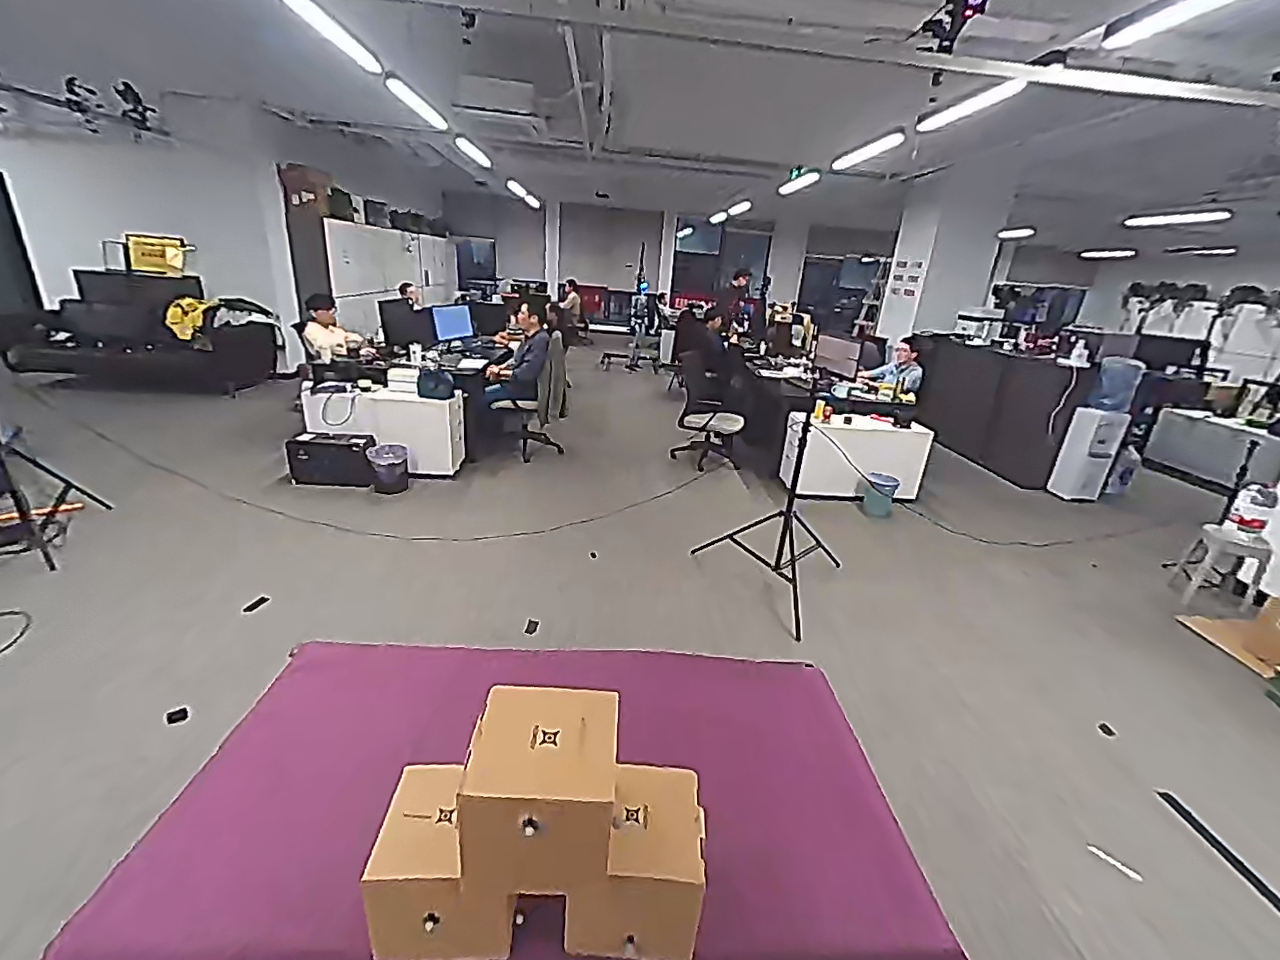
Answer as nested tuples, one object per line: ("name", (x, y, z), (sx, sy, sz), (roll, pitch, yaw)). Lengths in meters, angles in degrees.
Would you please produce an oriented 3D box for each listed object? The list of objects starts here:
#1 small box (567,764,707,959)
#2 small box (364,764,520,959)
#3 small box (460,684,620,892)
("small box", (-0.006, 0.543, 0.777), (0.179, 0.176, 0.168), (4, 20, 0))
("small box", (-0.255, 0.529, 0.757), (0.179, 0.176, 0.168), (2, 20, -5))
("small box", (-0.118, 0.389, 0.694), (0.179, 0.176, 0.168), (4, 22, -3))
